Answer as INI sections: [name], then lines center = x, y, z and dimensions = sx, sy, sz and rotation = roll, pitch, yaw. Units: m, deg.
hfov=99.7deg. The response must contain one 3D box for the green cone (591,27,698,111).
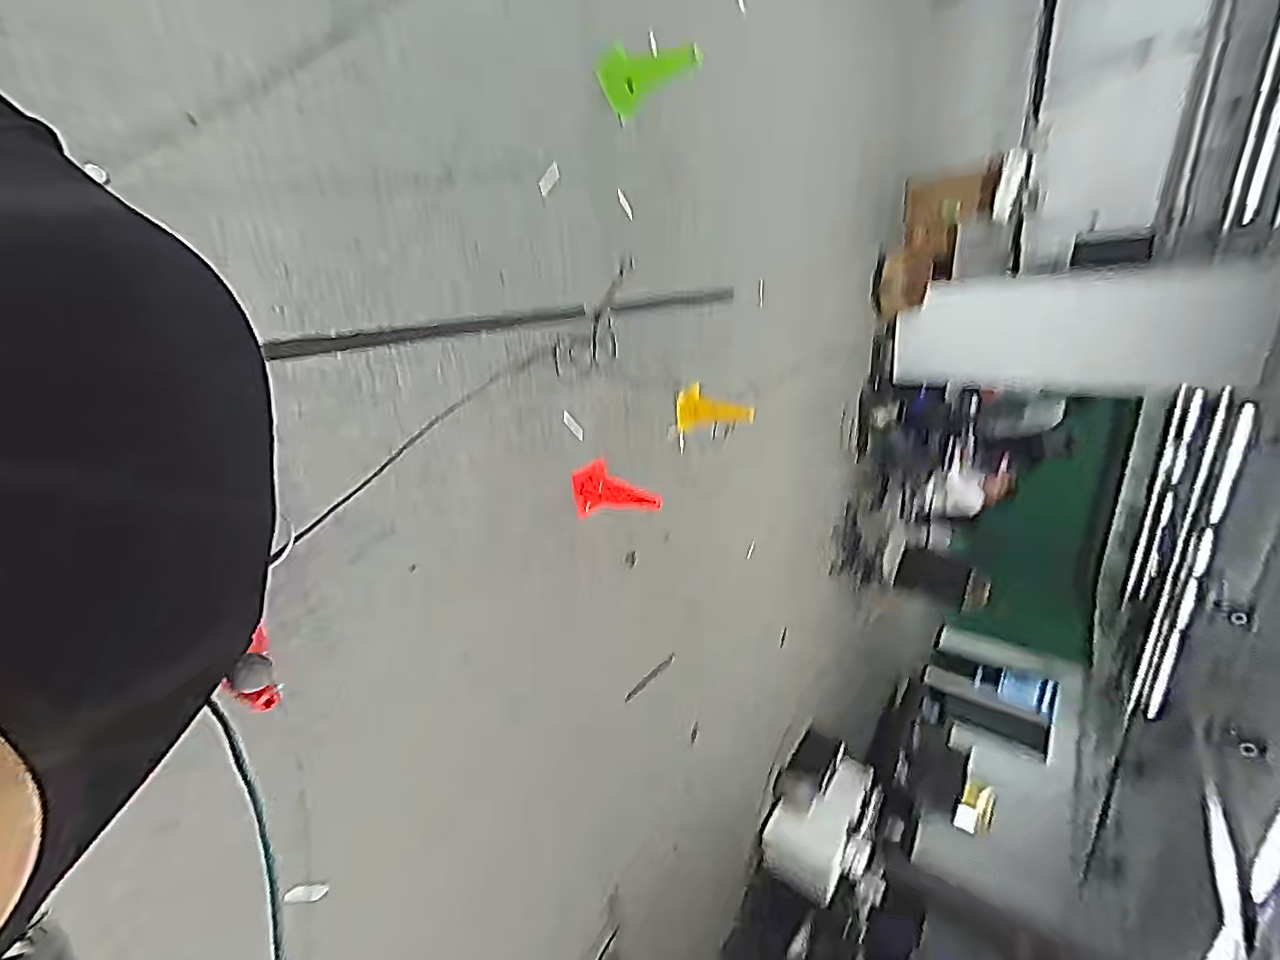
[green cone]
center = 0.045, -1.483, 1.882
dimensions = 0.202, 0.368, 0.200
rotation = 49, 60, -45

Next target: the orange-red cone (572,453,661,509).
[orange-red cone]
center = -0.070, 0.030, 2.130
dimensions = 0.199, 0.360, 0.198
rotation = -33, 124, -45
